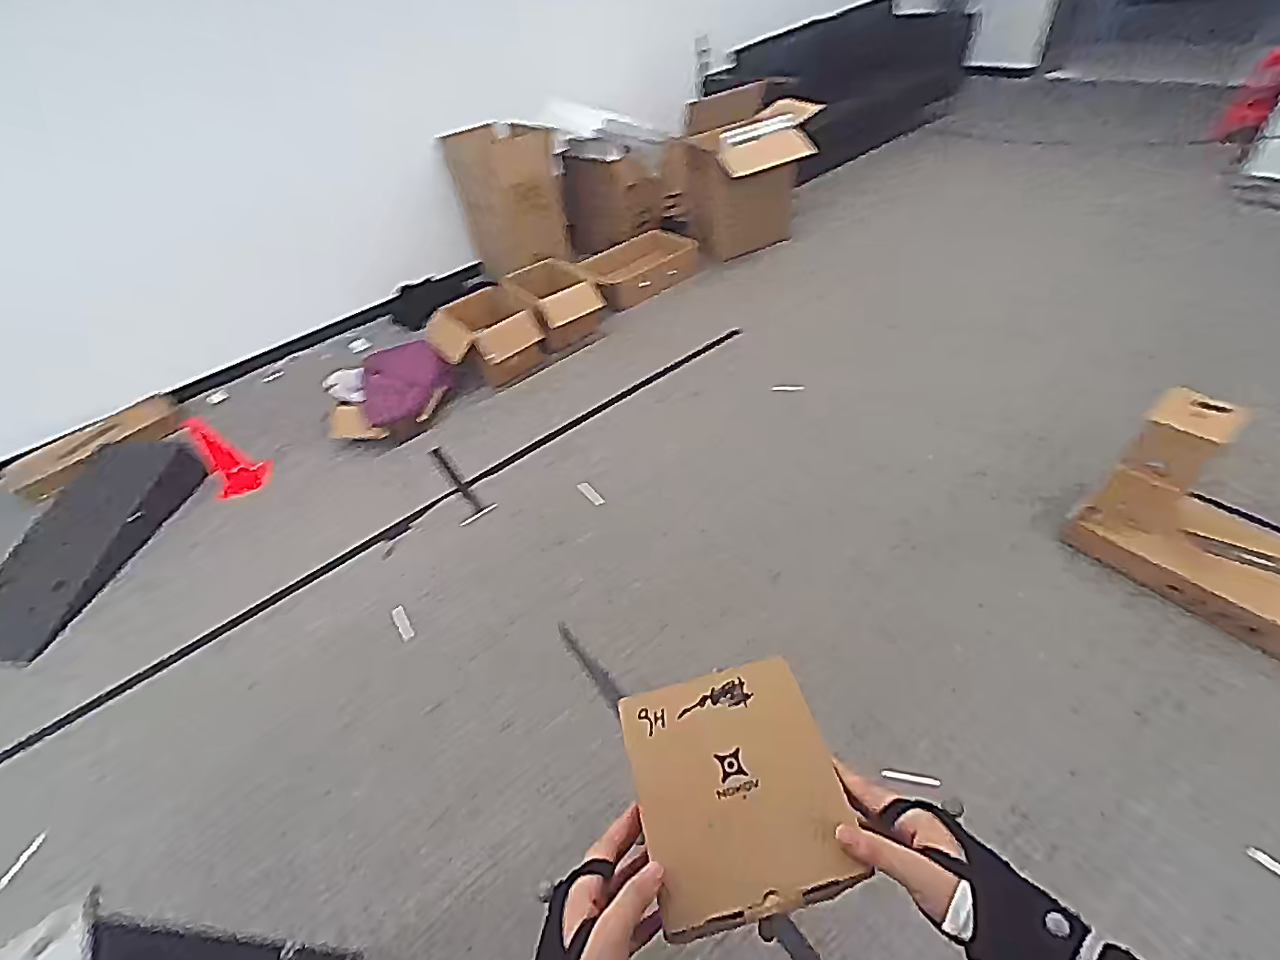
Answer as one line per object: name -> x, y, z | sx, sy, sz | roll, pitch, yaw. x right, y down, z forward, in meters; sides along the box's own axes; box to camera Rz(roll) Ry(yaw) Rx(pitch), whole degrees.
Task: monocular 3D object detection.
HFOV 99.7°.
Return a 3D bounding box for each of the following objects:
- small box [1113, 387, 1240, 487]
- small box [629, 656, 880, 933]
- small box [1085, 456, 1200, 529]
small box -> 1.442, -0.116, 1.465 | 0.179, 0.176, 0.168 | -35, 50, -22
small box -> 0.093, 0.297, 0.511 | 0.168, 0.176, 0.179 | -13, 49, -4
small box -> 1.452, 0.007, 1.573 | 0.179, 0.176, 0.168 | -33, 49, -21
